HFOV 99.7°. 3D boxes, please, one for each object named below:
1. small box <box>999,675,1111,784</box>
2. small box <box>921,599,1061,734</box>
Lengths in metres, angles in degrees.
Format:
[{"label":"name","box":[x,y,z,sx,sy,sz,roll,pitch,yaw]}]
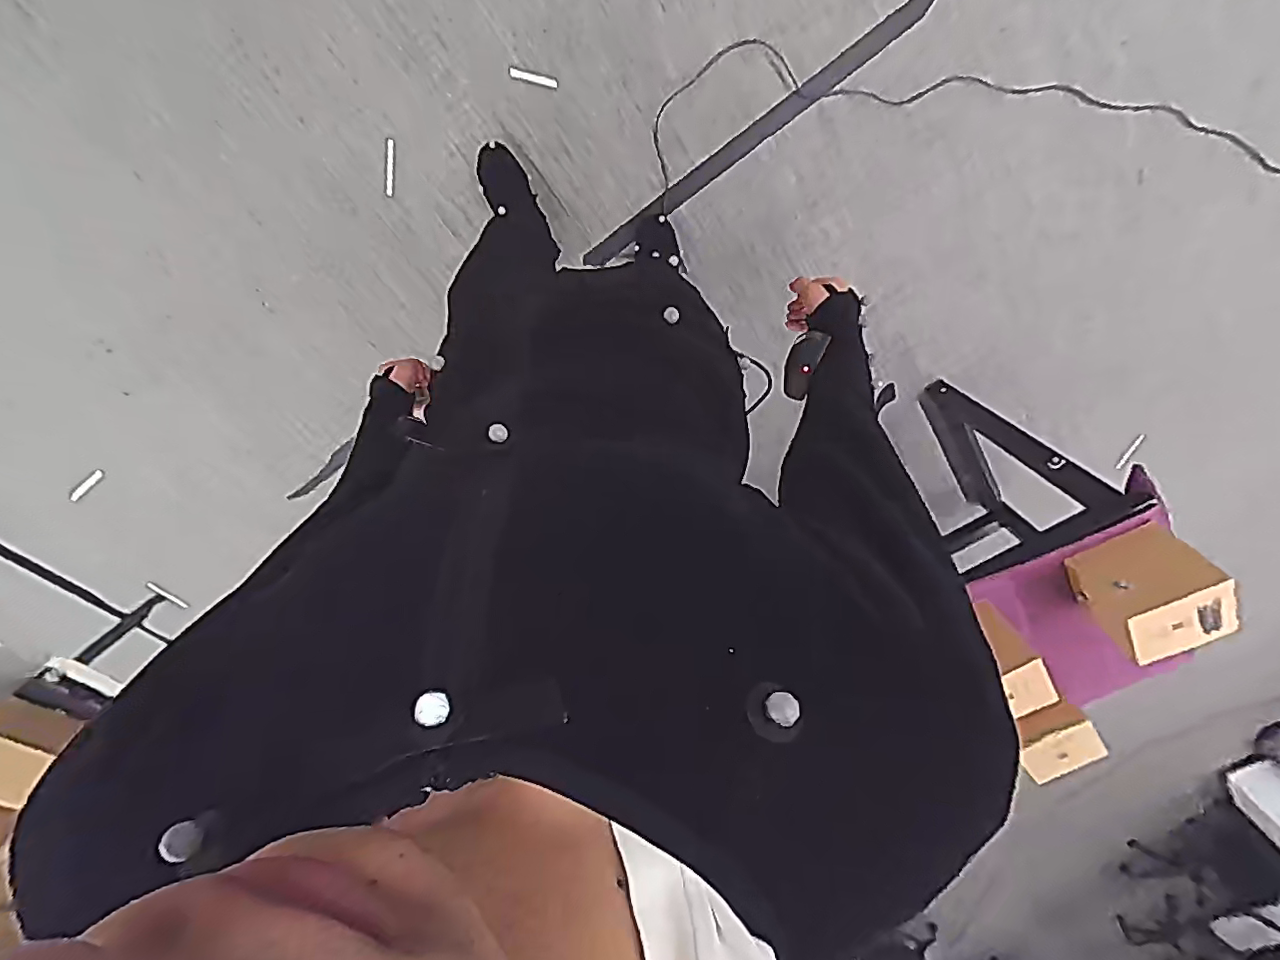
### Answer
[{"label":"small box","box":[0.926,0.558,1.253,0.168,0.176,0.179,-36,117,15]},{"label":"small box","box":[0.720,0.387,1.131,0.179,0.176,0.168,-32,118,14]}]
